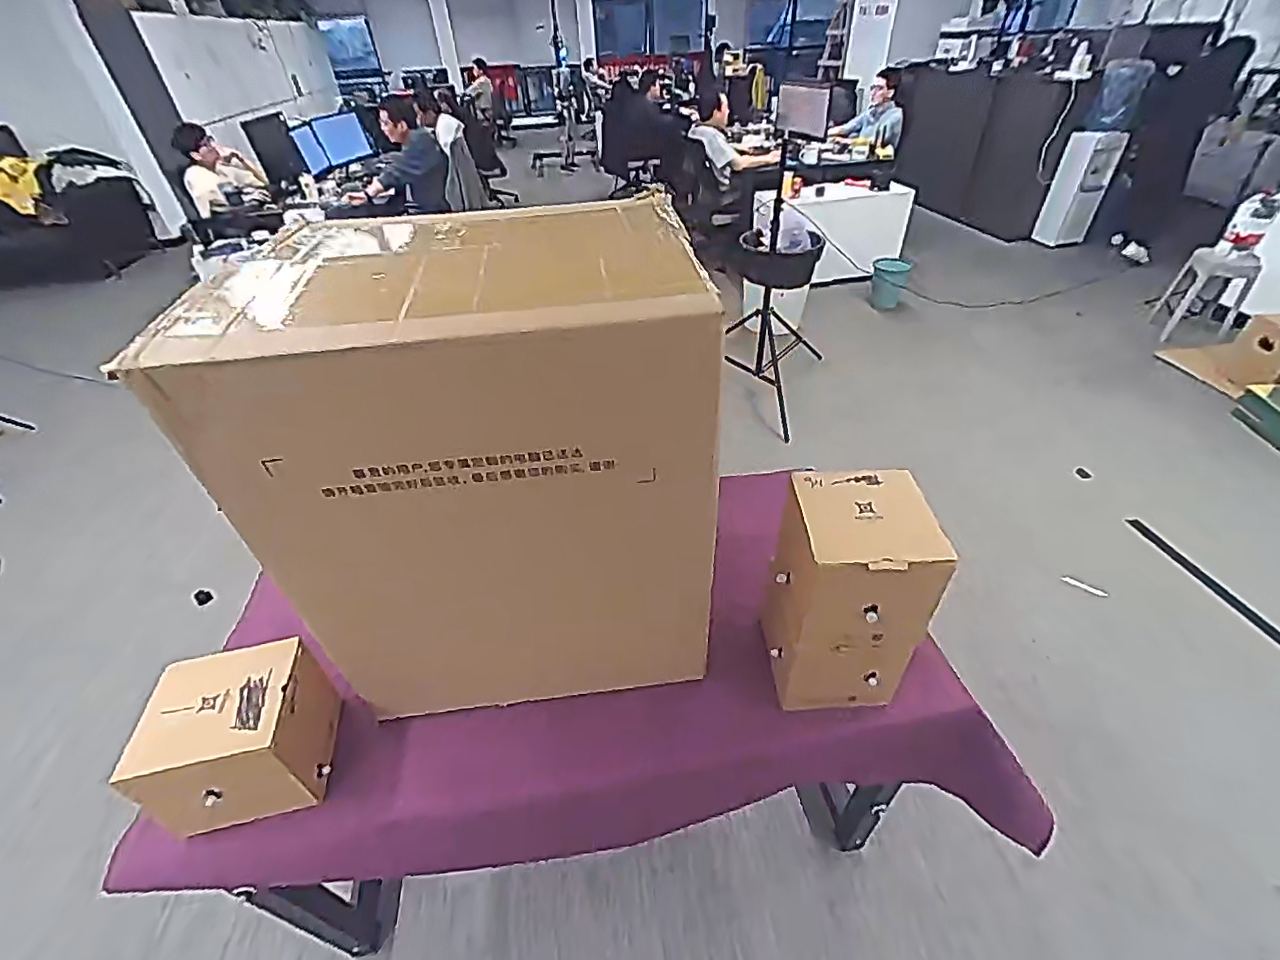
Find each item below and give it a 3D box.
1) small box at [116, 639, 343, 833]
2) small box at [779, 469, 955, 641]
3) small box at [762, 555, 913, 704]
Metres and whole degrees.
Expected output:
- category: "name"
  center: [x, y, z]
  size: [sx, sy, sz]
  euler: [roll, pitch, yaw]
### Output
- category: "small box"
  center: [-0.543, 0.354, 0.752]
  size: [0.179, 0.176, 0.168]
  euler: [-10, 38, -10]
- category: "small box"
  center: [0.294, 0.104, 0.744]
  size: [0.168, 0.176, 0.179]
  euler: [0, 40, 3]
- category: "small box"
  center: [0.294, 0.233, 0.846]
  size: [0.168, 0.176, 0.179]
  euler: [-3, 38, 0]
